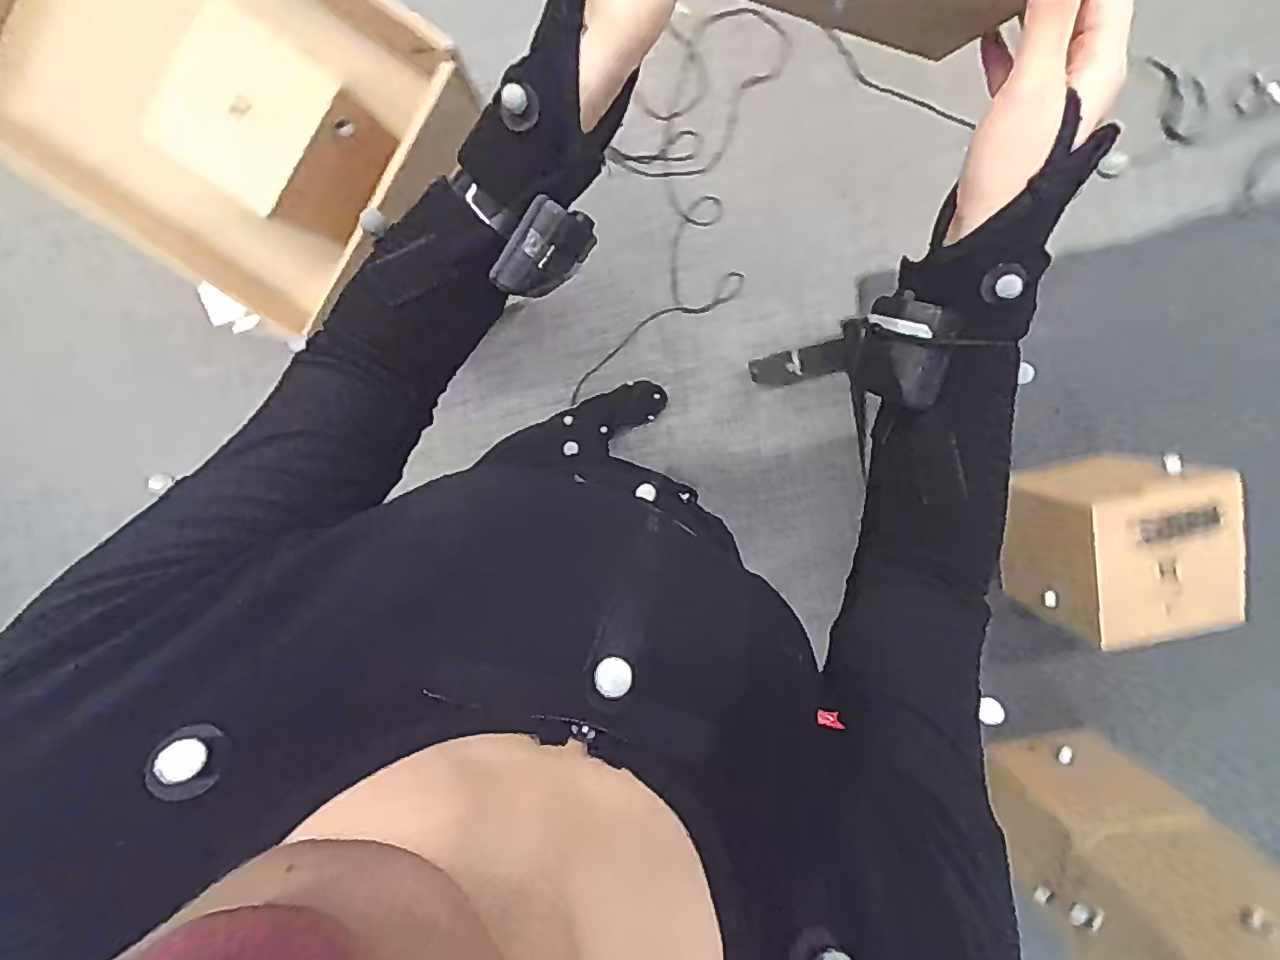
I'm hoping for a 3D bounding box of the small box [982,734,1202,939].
[{"bbox_3d":[0.602,0.485,0.741,0.168,0.176,0.179,-8,98,0],"label":"small box"}]
